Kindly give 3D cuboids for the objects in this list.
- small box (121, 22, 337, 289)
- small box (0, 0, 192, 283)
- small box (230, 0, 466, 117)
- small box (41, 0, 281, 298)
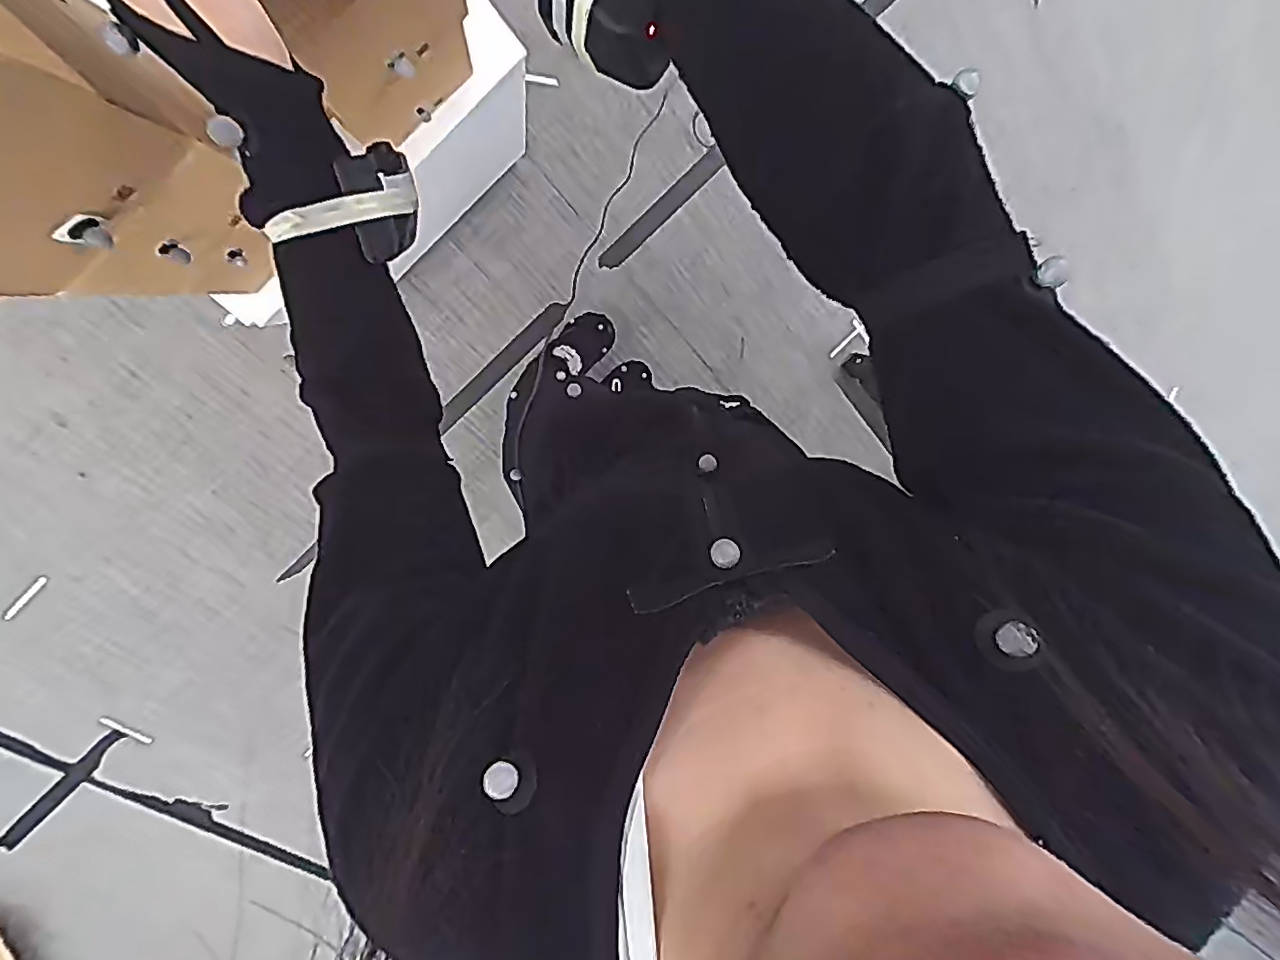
[{"bbox_3d":[-0.485,-0.331,0.600,0.168,0.176,0.179,-42,111,6],"label":"small box"},{"bbox_3d":[-0.421,-0.226,0.299,0.168,0.176,0.179,-44,112,6],"label":"small box"},{"bbox_3d":[-0.264,-0.439,0.430,0.168,0.176,0.179,-41,113,5],"label":"small box"},{"bbox_3d":[-0.452,-0.277,0.451,0.168,0.176,0.179,-44,111,5],"label":"small box"}]
